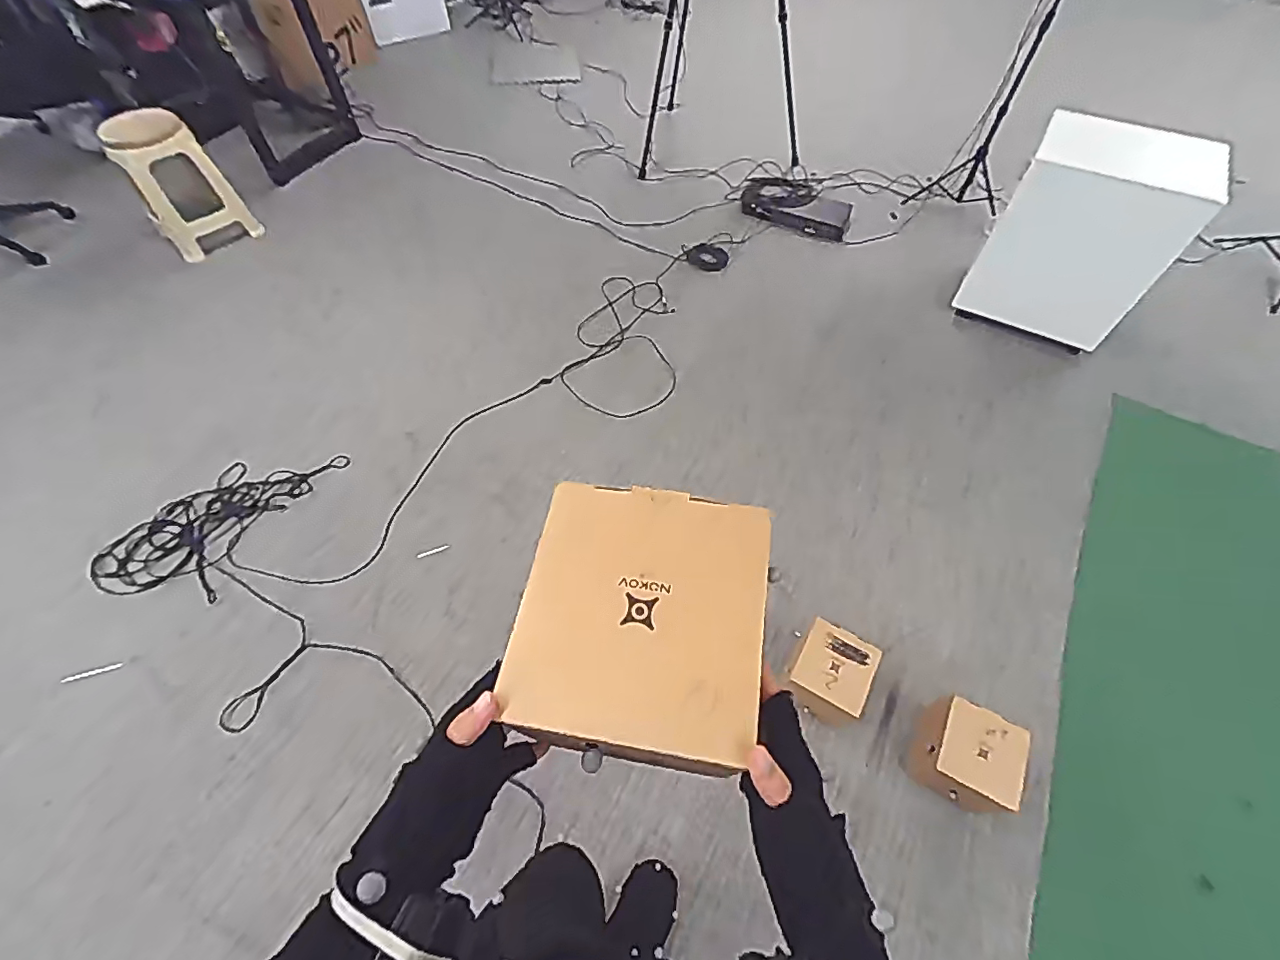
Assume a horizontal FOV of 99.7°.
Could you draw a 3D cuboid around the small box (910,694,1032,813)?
[{"bbox_3d":[0.735,0.619,1.217,0.168,0.176,0.179,26,60,15],"label":"small box"}]
